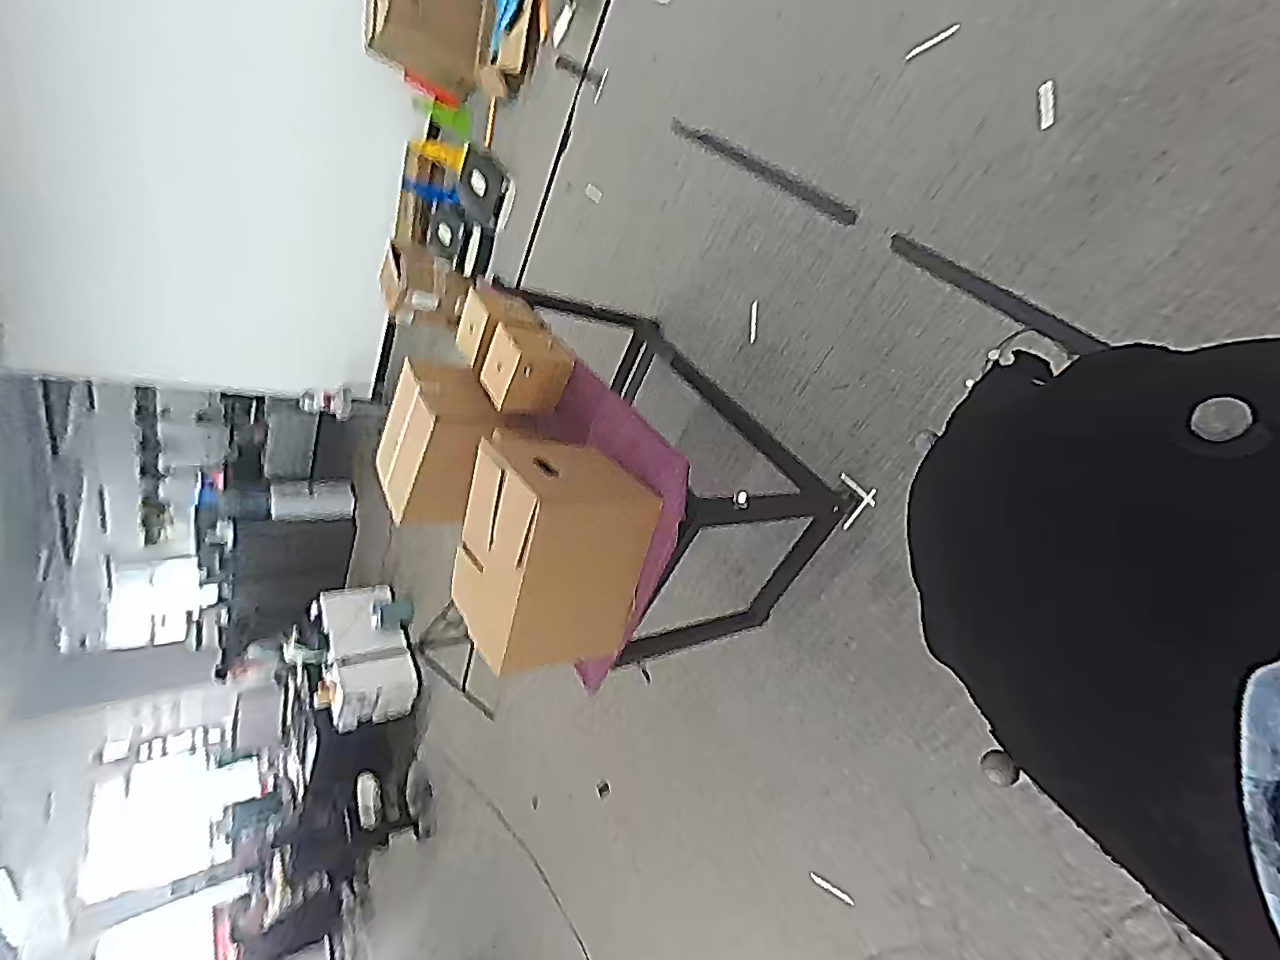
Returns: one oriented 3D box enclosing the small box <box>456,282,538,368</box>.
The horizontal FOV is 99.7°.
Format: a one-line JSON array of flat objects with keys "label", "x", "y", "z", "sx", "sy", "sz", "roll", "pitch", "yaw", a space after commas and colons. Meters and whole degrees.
[{"label": "small box", "x": -0.420, "y": -0.454, "z": 1.603, "sx": 0.168, "sy": 0.176, "sz": 0.179, "roll": 54, "pitch": 129, "yaw": 35}]
